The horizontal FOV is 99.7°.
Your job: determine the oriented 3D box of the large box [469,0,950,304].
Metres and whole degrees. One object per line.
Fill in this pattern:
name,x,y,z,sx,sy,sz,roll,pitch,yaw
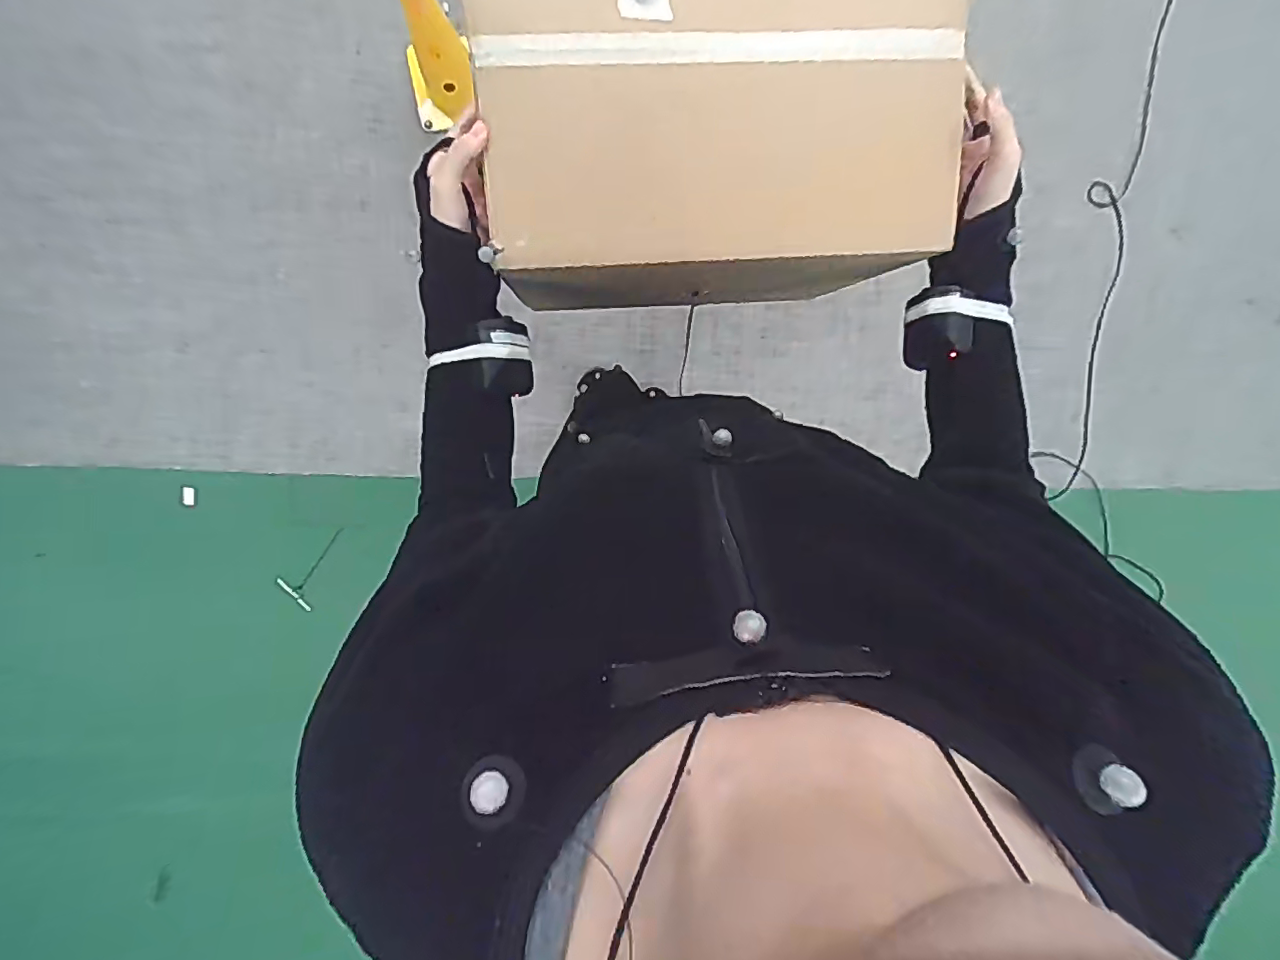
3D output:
large box,0.054,-0.378,0.594,0.408,0.320,0.320,-4,101,-4
